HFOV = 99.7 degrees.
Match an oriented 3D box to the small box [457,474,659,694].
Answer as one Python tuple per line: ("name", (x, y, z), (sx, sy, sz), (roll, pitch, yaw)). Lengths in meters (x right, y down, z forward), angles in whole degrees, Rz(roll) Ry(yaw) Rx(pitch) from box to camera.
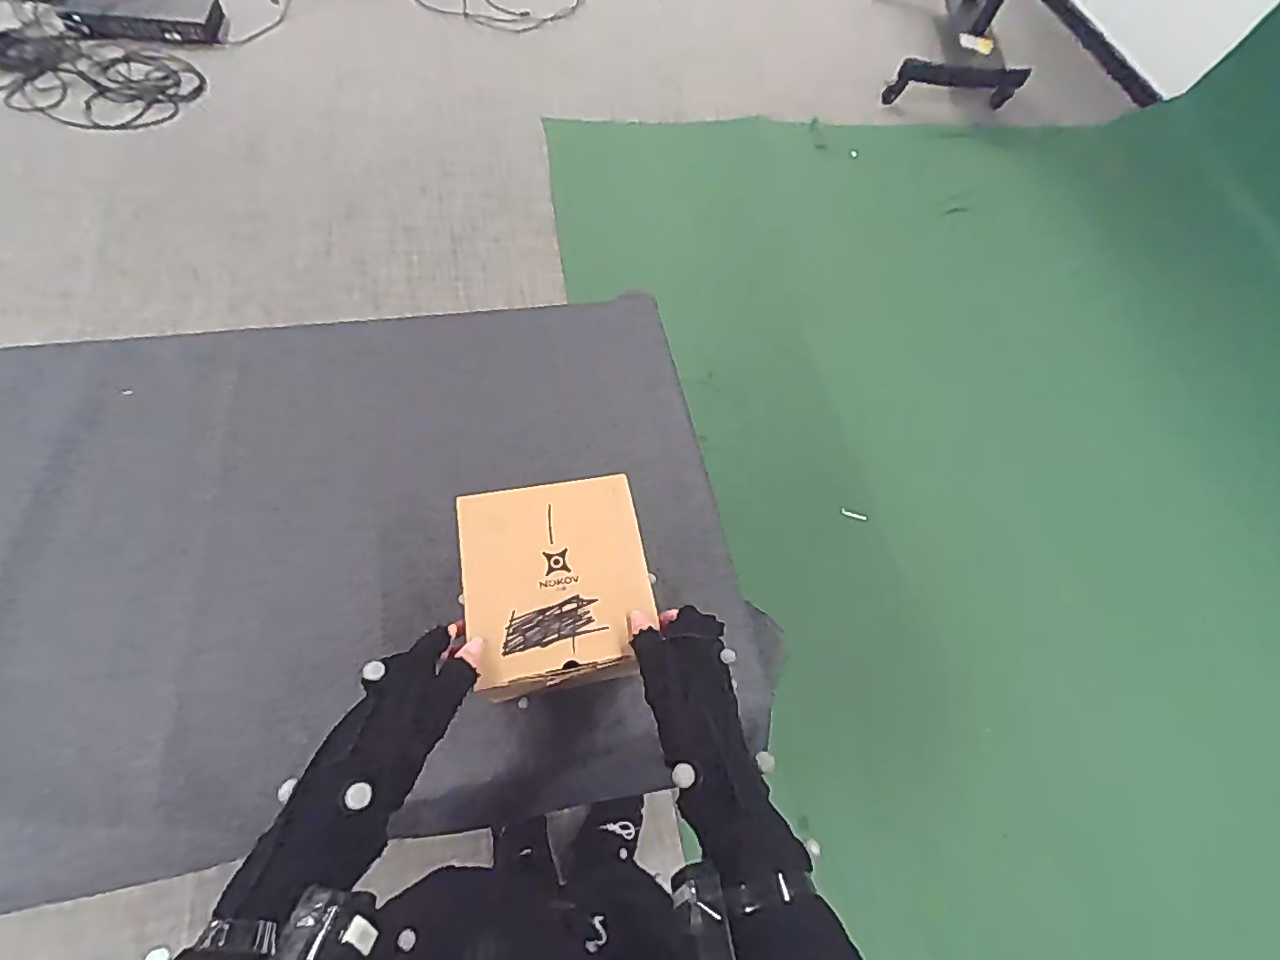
("small box", (-0.085, 0.115, 0.558), (0.168, 0.176, 0.179), (-8, 66, -11))
